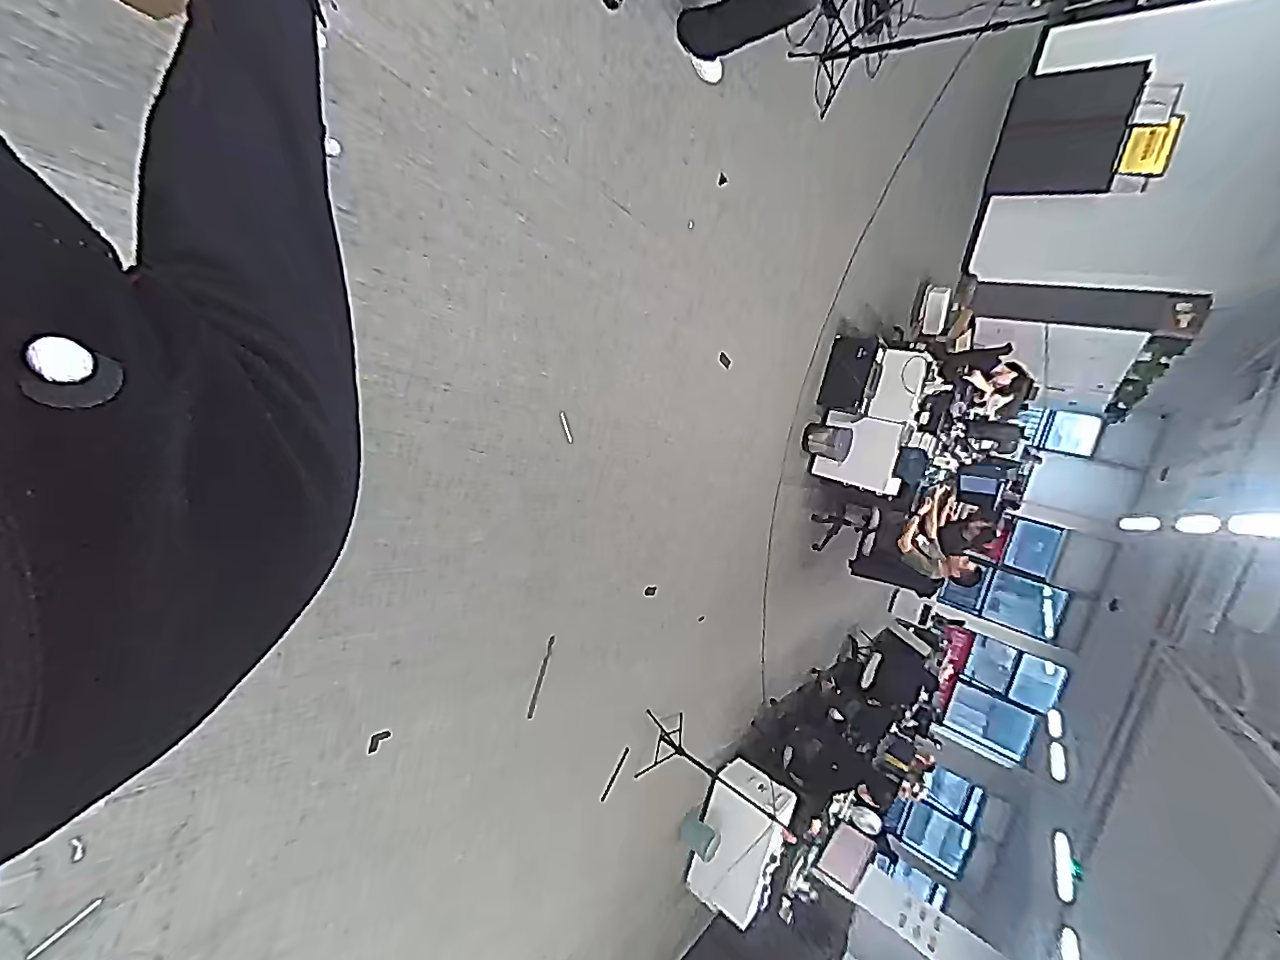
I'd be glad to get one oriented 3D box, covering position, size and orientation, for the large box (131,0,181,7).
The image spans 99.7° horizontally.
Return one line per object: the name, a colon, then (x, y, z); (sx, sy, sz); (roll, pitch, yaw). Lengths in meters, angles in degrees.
large box: (-0.505, -0.592, 0.322); (0.408, 0.320, 0.320); (2, 112, -52)
